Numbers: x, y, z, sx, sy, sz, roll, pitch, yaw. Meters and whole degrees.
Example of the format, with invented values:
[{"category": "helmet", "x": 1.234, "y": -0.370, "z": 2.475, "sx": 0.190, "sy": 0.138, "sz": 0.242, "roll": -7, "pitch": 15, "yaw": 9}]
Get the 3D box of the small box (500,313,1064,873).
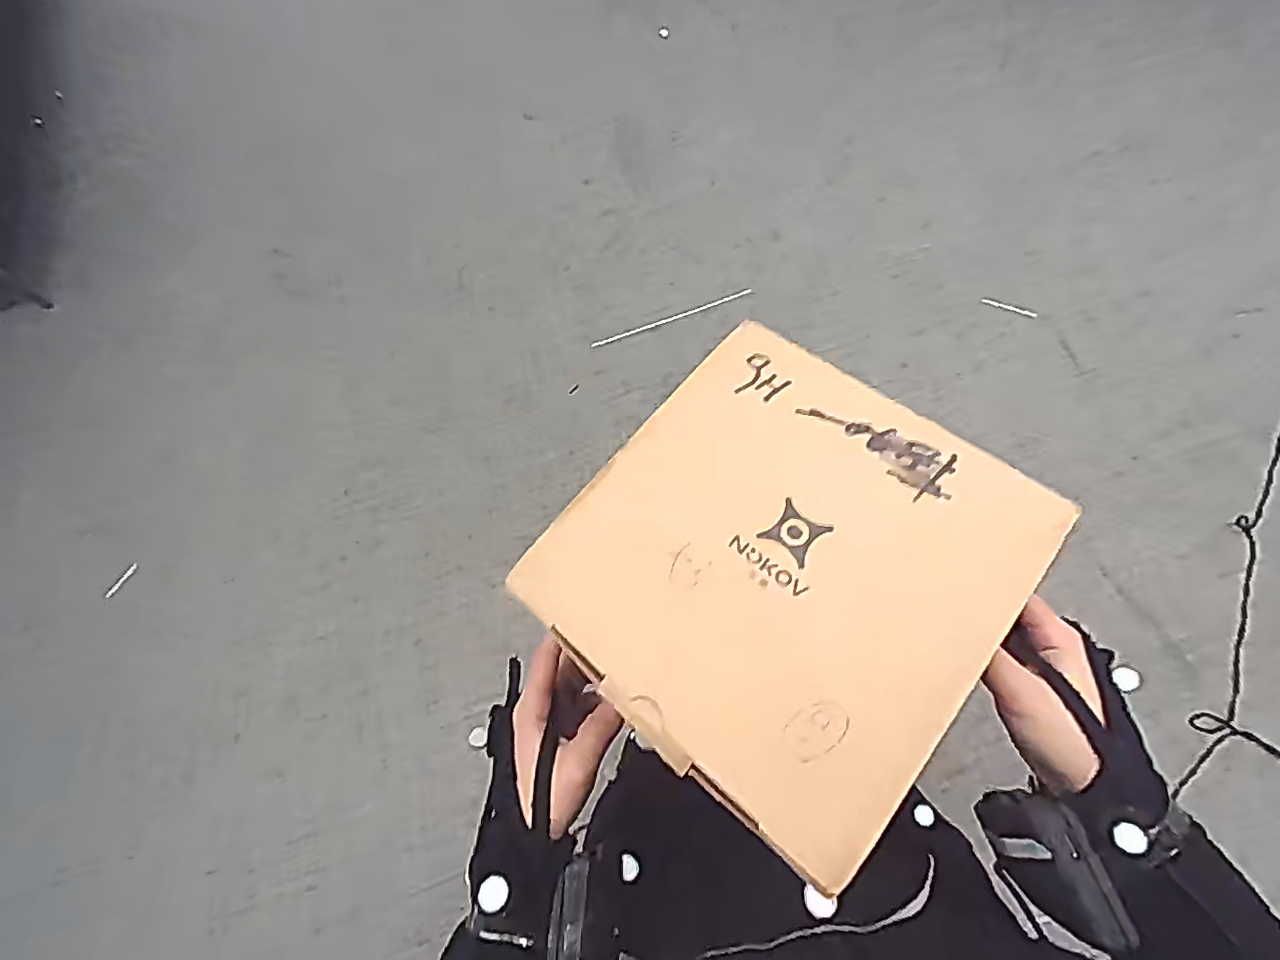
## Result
[{"category": "small box", "x": 0.064, "y": 0.055, "z": 0.296, "sx": 0.168, "sy": 0.176, "sz": 0.179, "roll": 38, "pitch": 77, "yaw": 21}]
